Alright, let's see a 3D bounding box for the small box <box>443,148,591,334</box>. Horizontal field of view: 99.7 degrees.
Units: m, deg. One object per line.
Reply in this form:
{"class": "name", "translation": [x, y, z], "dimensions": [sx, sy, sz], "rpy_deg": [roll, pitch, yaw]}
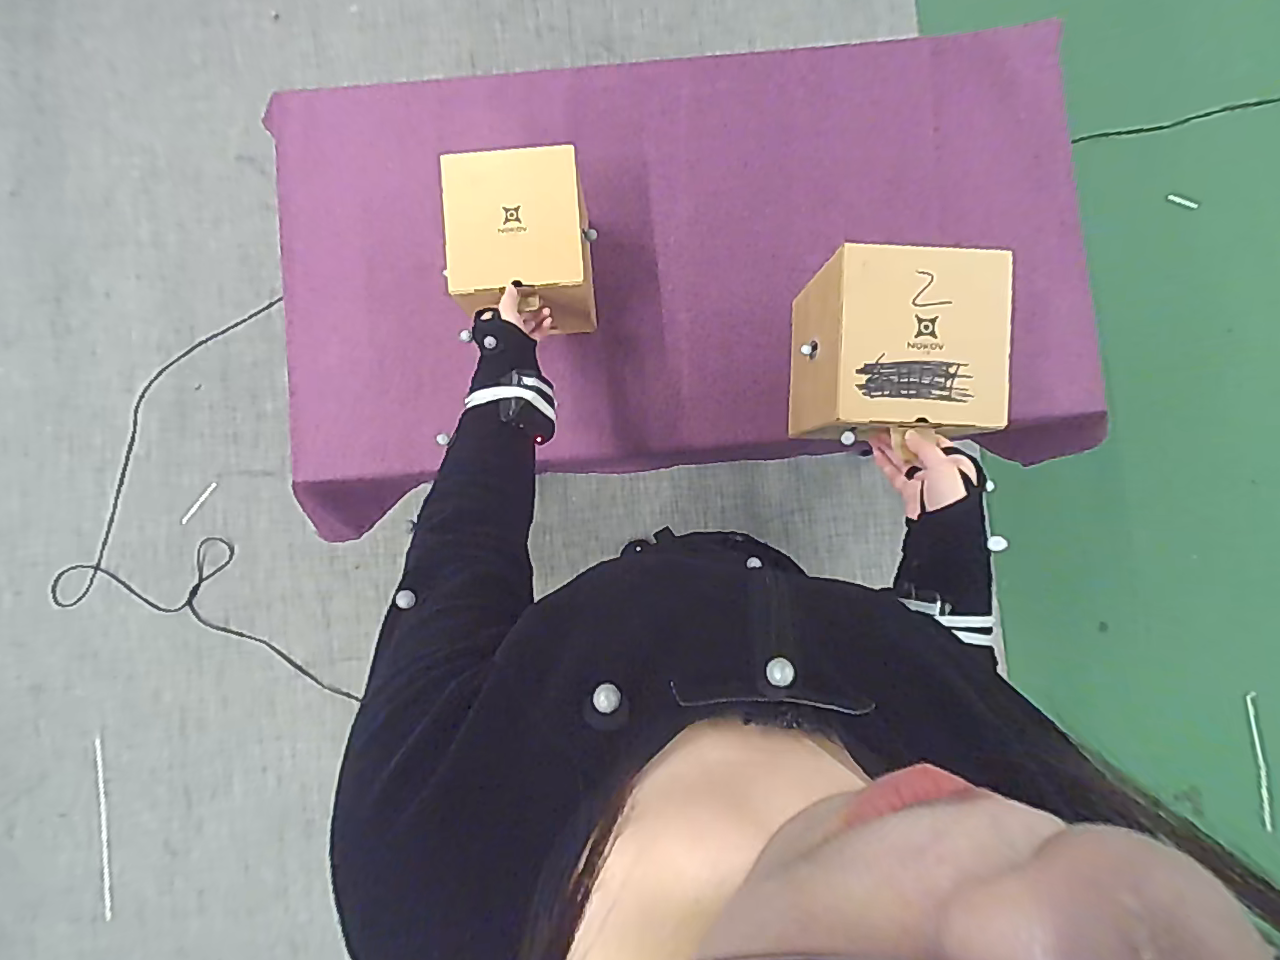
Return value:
{"class": "small box", "translation": [-0.159, -0.318, 0.746], "dimensions": [0.168, 0.176, 0.179], "rpy_deg": [-4, 87, 0]}
